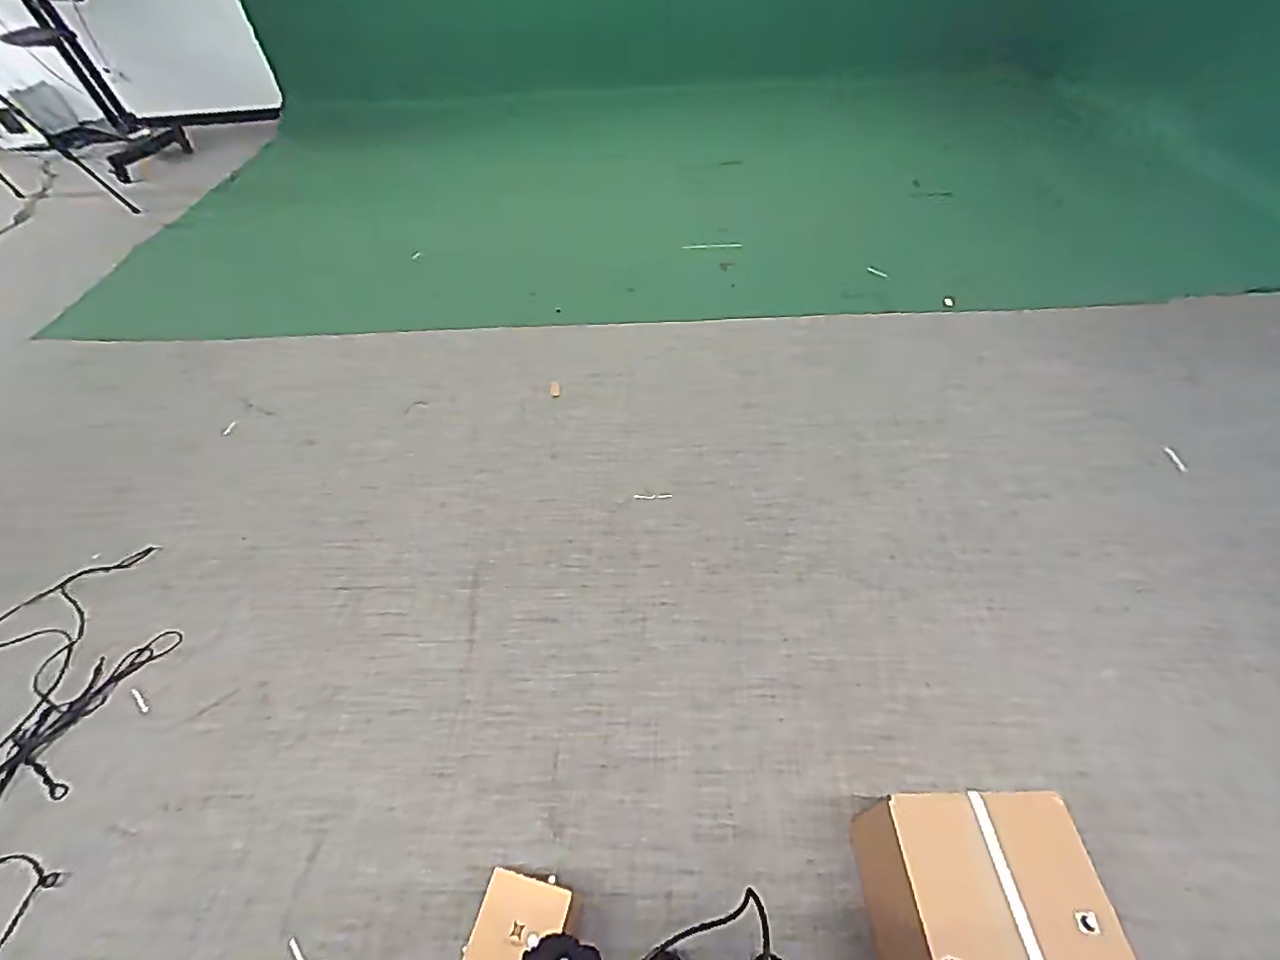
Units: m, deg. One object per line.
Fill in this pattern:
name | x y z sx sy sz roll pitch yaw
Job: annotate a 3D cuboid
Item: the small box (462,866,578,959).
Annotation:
small box | -0.230 0.900 1.074 0.168 0.176 0.179 9 53 11
